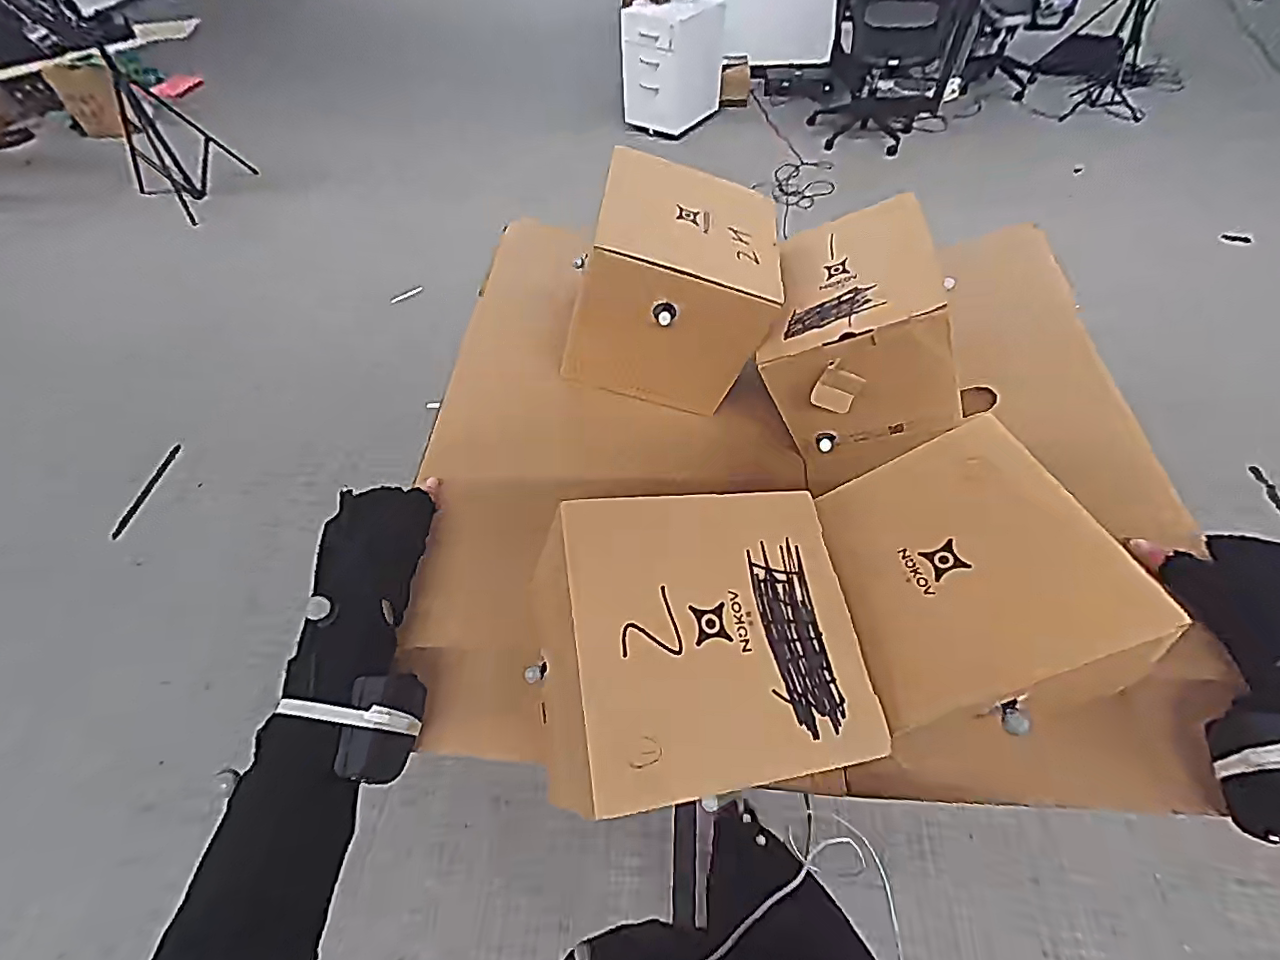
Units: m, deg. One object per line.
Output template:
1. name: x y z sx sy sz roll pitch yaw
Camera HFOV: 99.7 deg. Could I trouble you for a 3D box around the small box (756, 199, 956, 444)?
1. small box: 0.234 -0.156 0.592 0.168 0.176 0.179 -12 52 27
